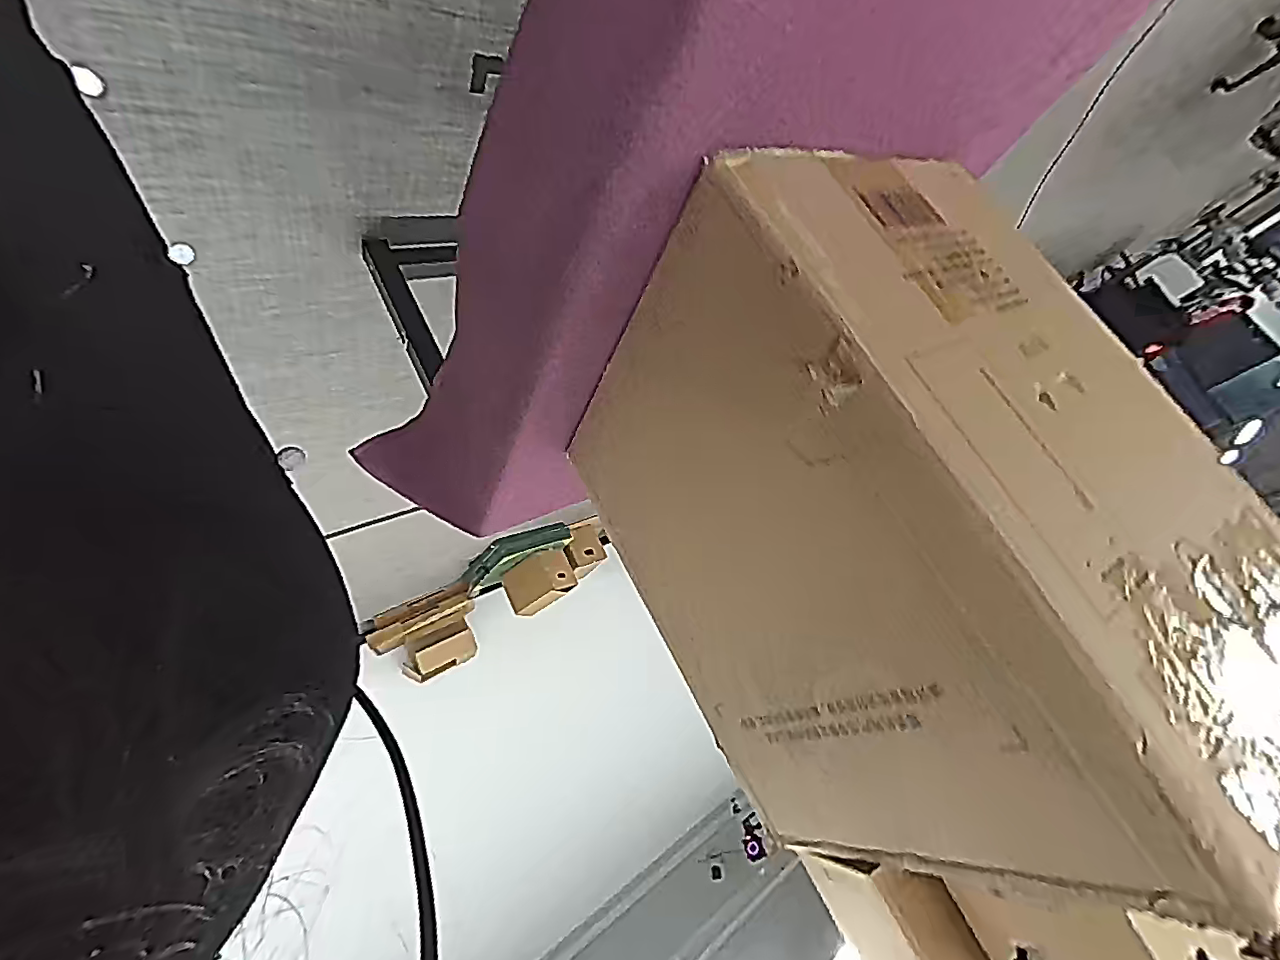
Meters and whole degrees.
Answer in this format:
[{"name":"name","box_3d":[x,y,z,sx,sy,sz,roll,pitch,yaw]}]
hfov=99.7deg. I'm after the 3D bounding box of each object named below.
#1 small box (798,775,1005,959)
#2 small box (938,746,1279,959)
[{"name":"small box","box_3d":[0.323,0.463,0.621,0.179,0.176,0.168,-24,163,-24]},{"name":"small box","box_3d":[0.414,0.366,0.484,0.179,0.176,0.168,-22,166,-30]}]
